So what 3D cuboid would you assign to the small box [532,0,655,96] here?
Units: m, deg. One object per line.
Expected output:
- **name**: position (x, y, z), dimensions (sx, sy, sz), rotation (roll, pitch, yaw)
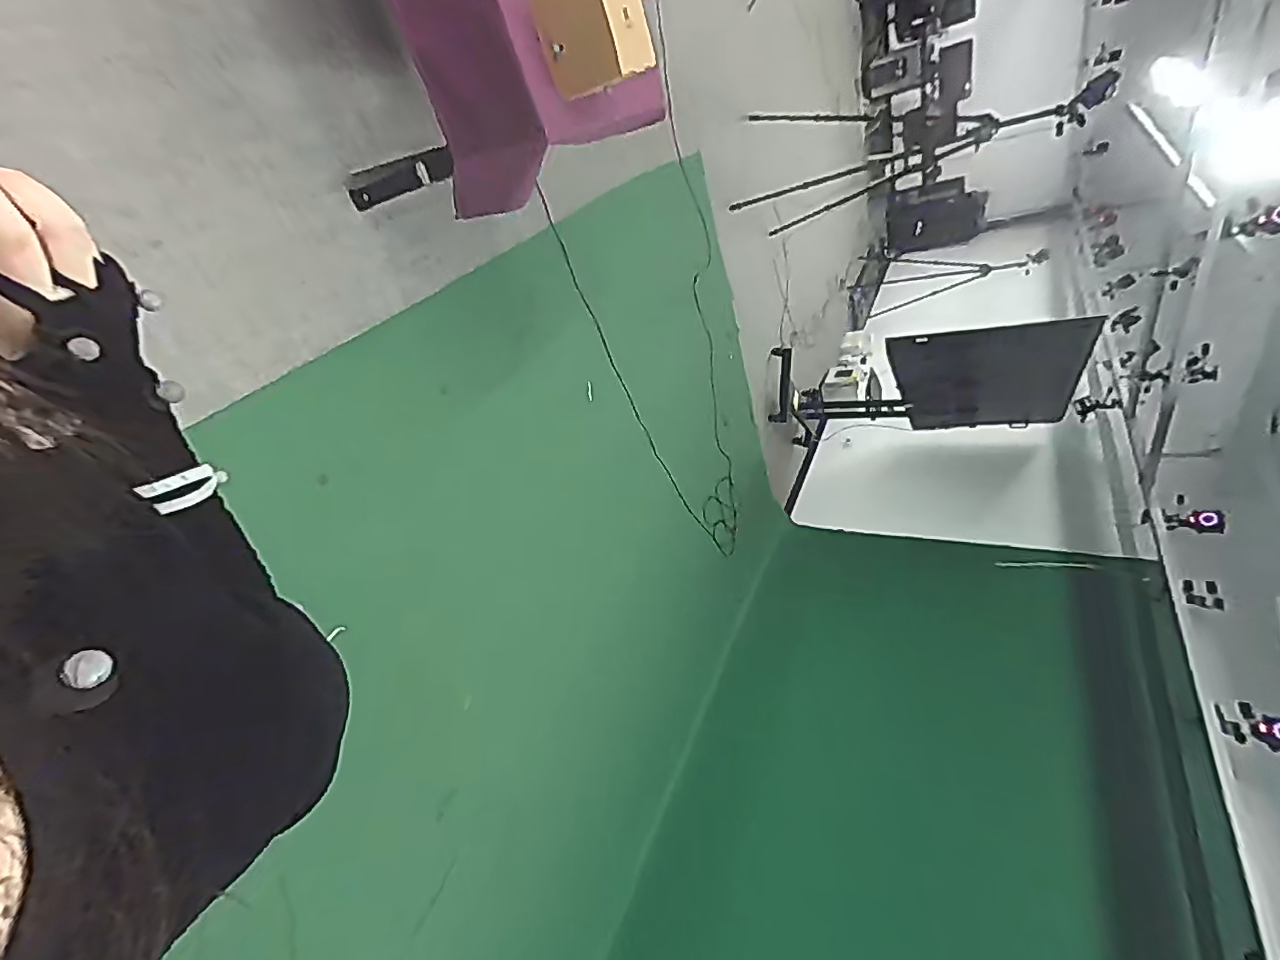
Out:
- **small box**: position (-0.095, -0.941, 1.143), dimensions (0.168, 0.176, 0.179), rotation (-55, 136, -41)
